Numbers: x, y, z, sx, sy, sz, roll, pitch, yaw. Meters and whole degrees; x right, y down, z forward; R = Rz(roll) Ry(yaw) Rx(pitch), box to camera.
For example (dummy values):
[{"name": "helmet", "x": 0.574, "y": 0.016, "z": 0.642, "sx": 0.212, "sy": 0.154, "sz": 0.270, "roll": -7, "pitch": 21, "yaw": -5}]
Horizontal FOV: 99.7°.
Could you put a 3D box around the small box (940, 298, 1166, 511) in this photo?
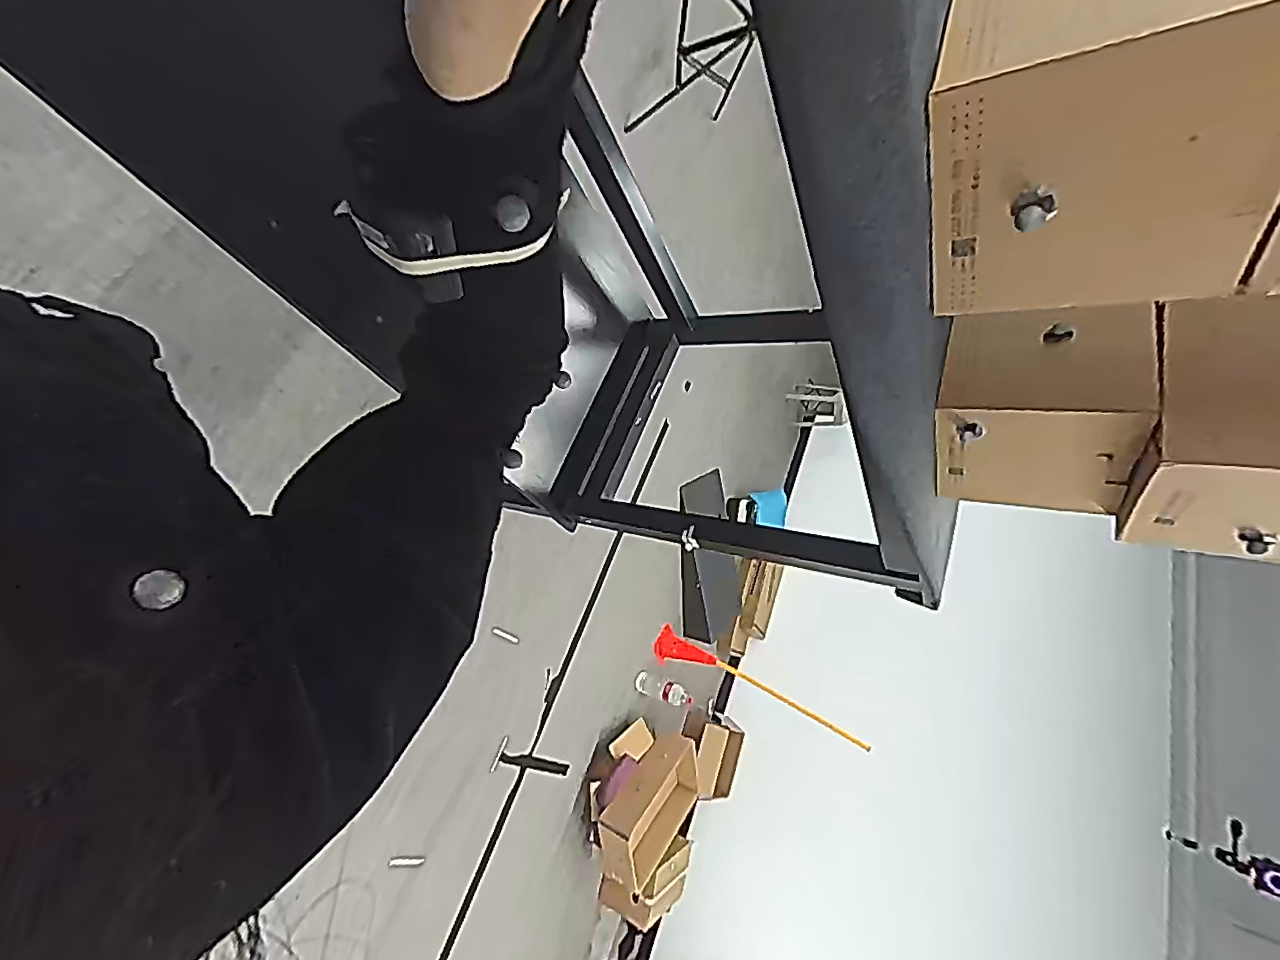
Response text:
[{"name": "small box", "x": 0.426, "y": -0.089, "z": 0.581, "sx": 0.168, "sy": 0.176, "sz": 0.179, "roll": 55, "pitch": 51, "yaw": -46}]

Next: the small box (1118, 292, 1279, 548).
[{"name": "small box", "x": 0.549, "y": -0.045, "z": 0.480, "sx": 0.168, "sy": 0.176, "sz": 0.179, "roll": 48, "pitch": 56, "yaw": -51}]

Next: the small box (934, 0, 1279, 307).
[{"name": "small box", "x": 0.299, "y": -0.238, "z": 0.355, "sx": 0.168, "sy": 0.176, "sz": 0.179, "roll": 51, "pitch": 53, "yaw": -47}]
